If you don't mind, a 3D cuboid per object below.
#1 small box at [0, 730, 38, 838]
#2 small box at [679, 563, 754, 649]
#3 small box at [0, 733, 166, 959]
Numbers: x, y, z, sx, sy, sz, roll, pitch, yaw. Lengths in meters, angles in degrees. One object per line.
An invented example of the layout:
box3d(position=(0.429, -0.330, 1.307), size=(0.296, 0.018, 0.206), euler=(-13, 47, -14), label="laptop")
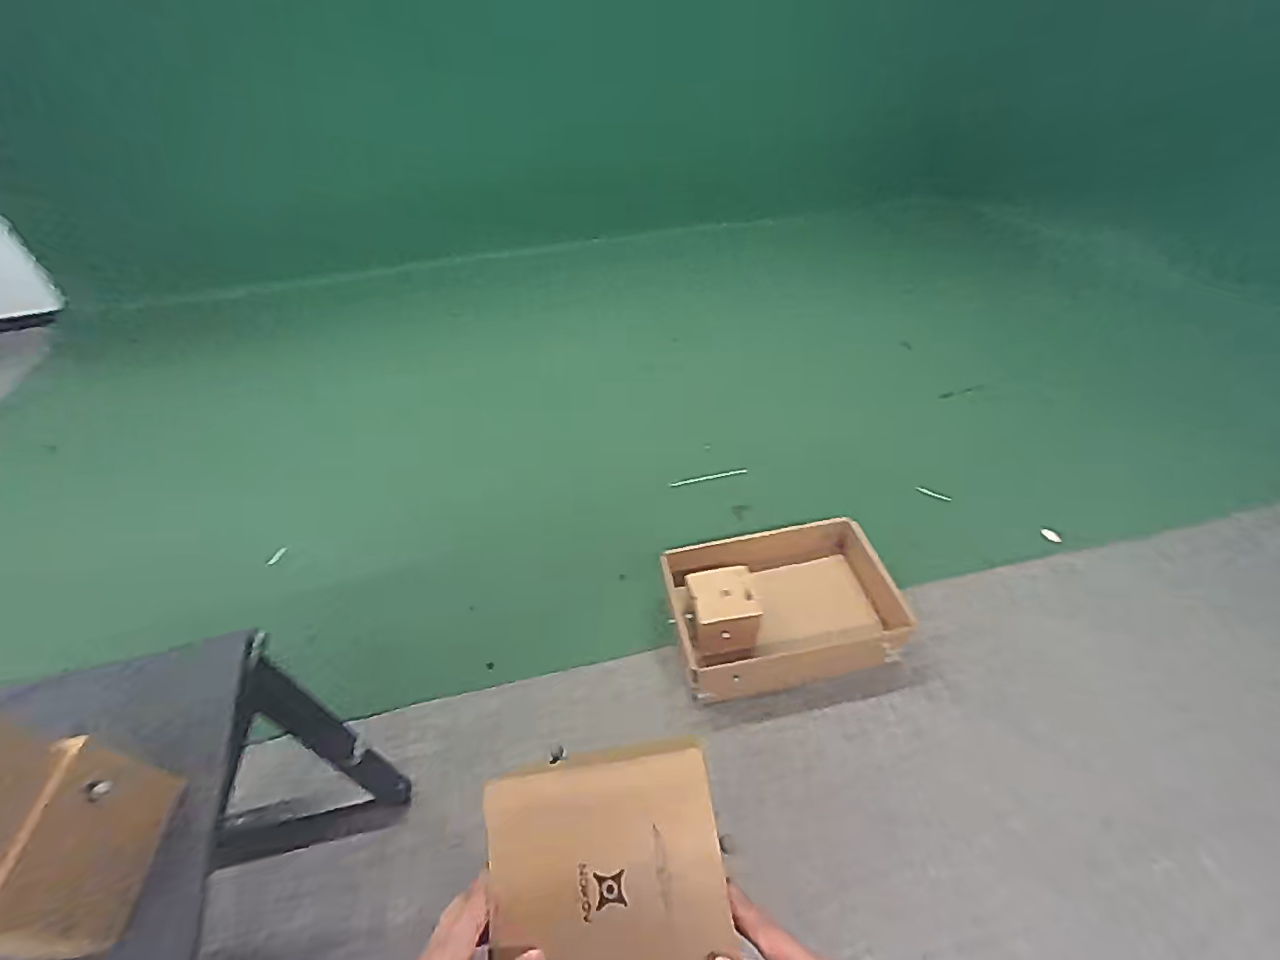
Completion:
box3d(position=(-0.698, 0.302, 0.459), size=(0.168, 0.176, 0.179), euler=(-9, 47, -3), label="small box")
box3d(position=(0.214, 0.364, 1.545), size=(0.179, 0.176, 0.168), euler=(-9, 46, -5), label="small box")
box3d(position=(-0.678, 0.405, 0.587), size=(0.168, 0.176, 0.179), euler=(-9, 46, -2), label="small box")
